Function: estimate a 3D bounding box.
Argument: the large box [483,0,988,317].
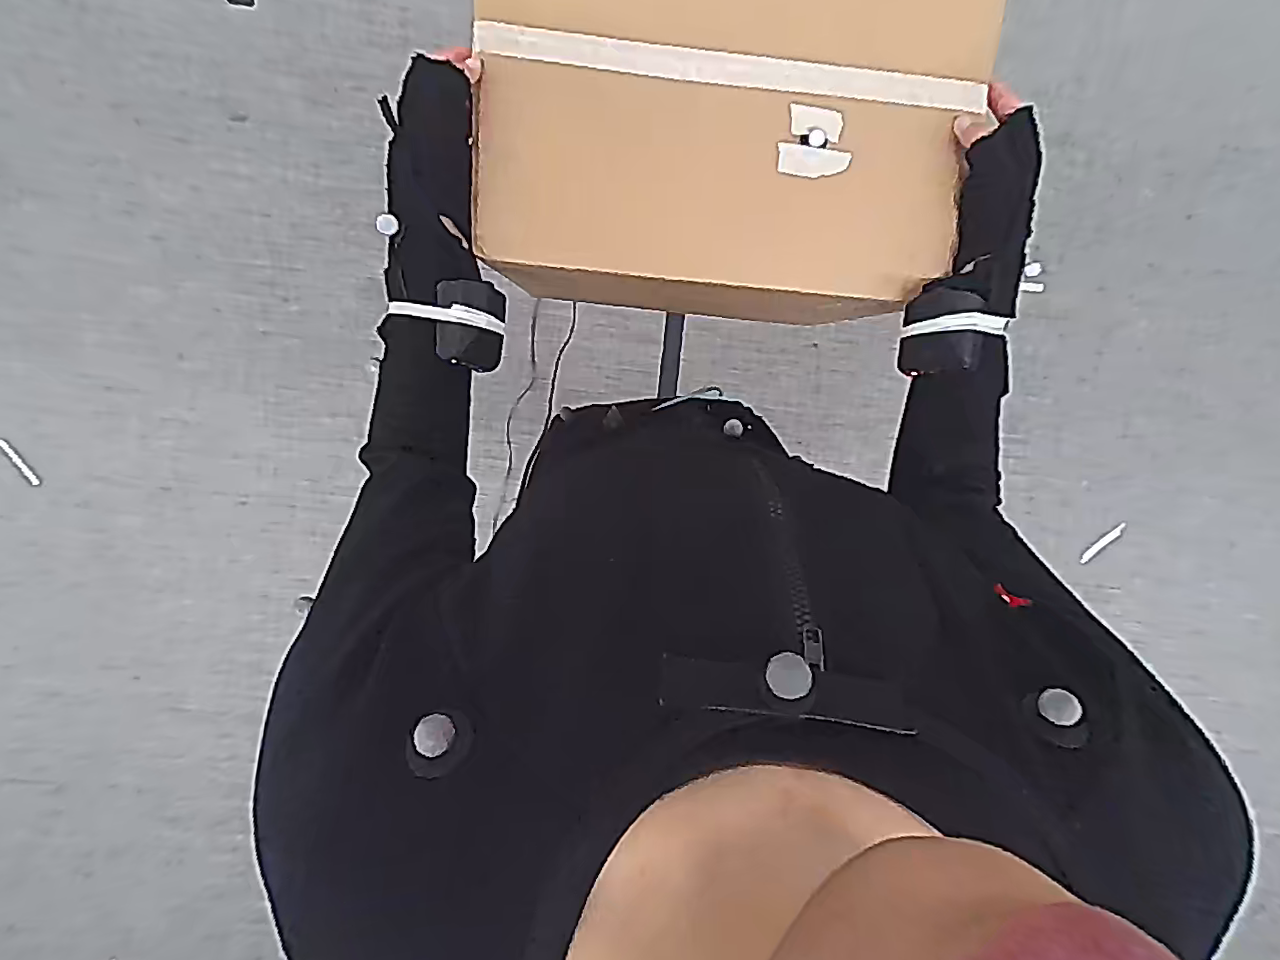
[{"bbox_3d":[0.065,-0.359,0.582,0.408,0.320,0.320,4,104,-4],"label":"large box"}]
